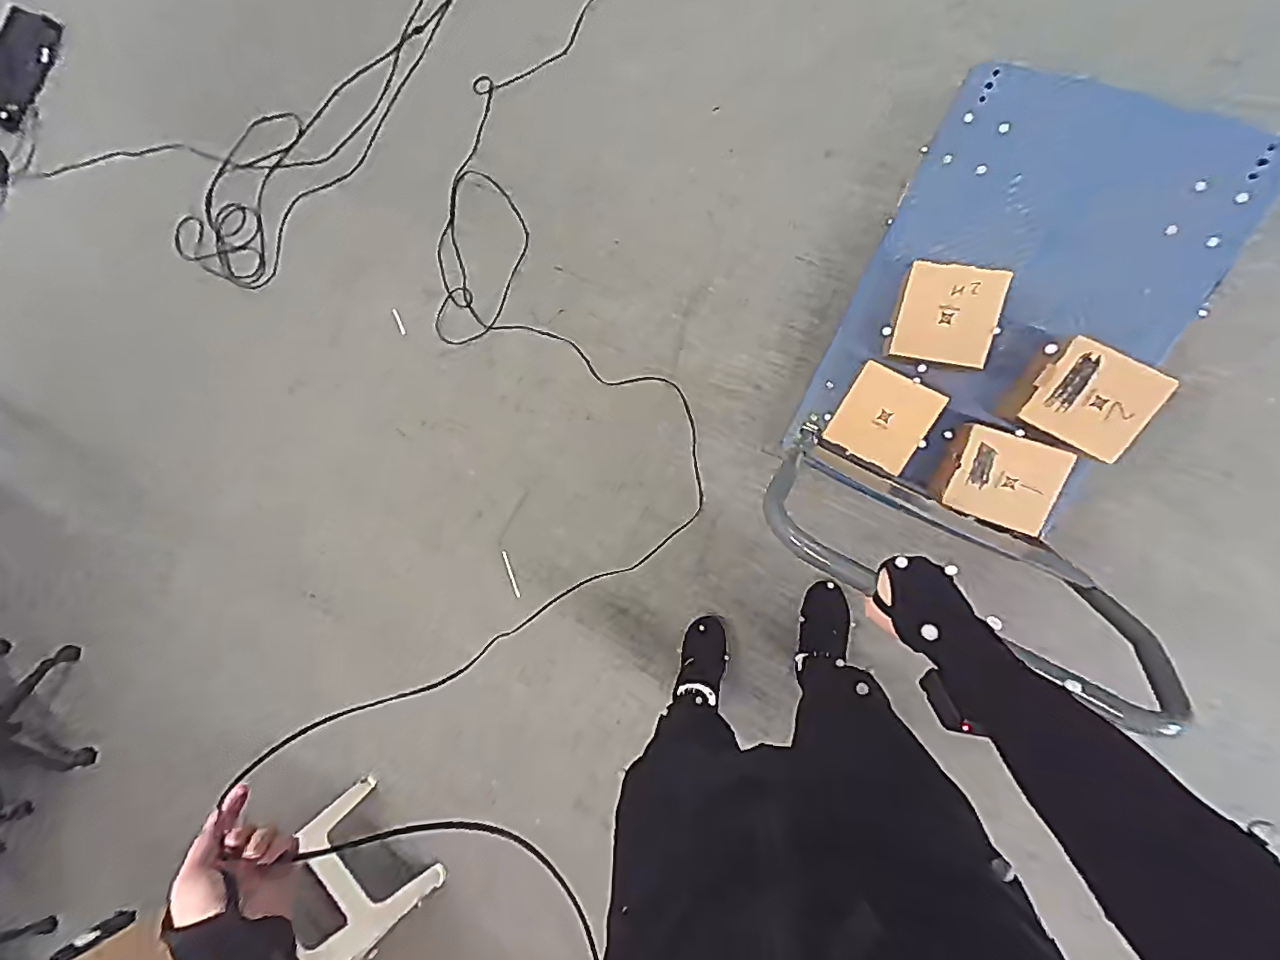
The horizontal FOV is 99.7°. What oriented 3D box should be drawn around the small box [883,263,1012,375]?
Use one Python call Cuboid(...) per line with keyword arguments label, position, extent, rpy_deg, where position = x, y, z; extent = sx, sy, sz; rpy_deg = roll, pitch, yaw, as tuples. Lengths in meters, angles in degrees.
Cuboid(label="small box", position=(0.594, -0.310, 1.072), extent=(0.168, 0.176, 0.179), rpy_deg=(15, 102, 16))
